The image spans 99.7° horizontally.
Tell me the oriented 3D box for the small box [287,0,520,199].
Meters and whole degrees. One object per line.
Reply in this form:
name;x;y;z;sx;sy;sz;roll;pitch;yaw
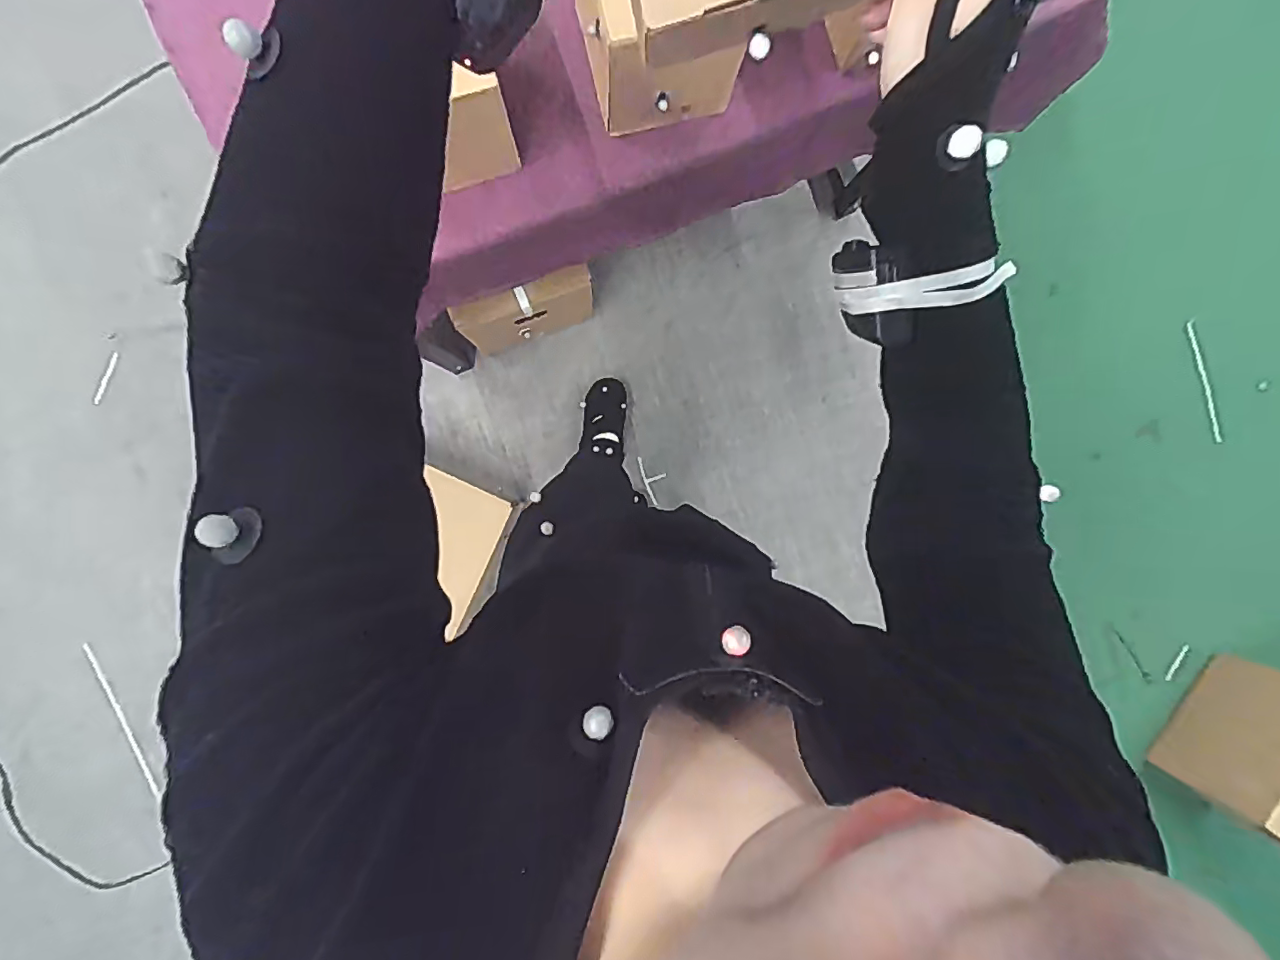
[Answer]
small box;-0.257;-0.459;0.626;0.179;0.176;0.168;-19;95;-2

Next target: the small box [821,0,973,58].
small box;0.327;-0.660;0.654;0.168;0.176;0.179;-19;94;-2

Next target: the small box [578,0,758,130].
small box;0.021;-0.563;0.641;0.168;0.176;0.179;-14;95;-3
